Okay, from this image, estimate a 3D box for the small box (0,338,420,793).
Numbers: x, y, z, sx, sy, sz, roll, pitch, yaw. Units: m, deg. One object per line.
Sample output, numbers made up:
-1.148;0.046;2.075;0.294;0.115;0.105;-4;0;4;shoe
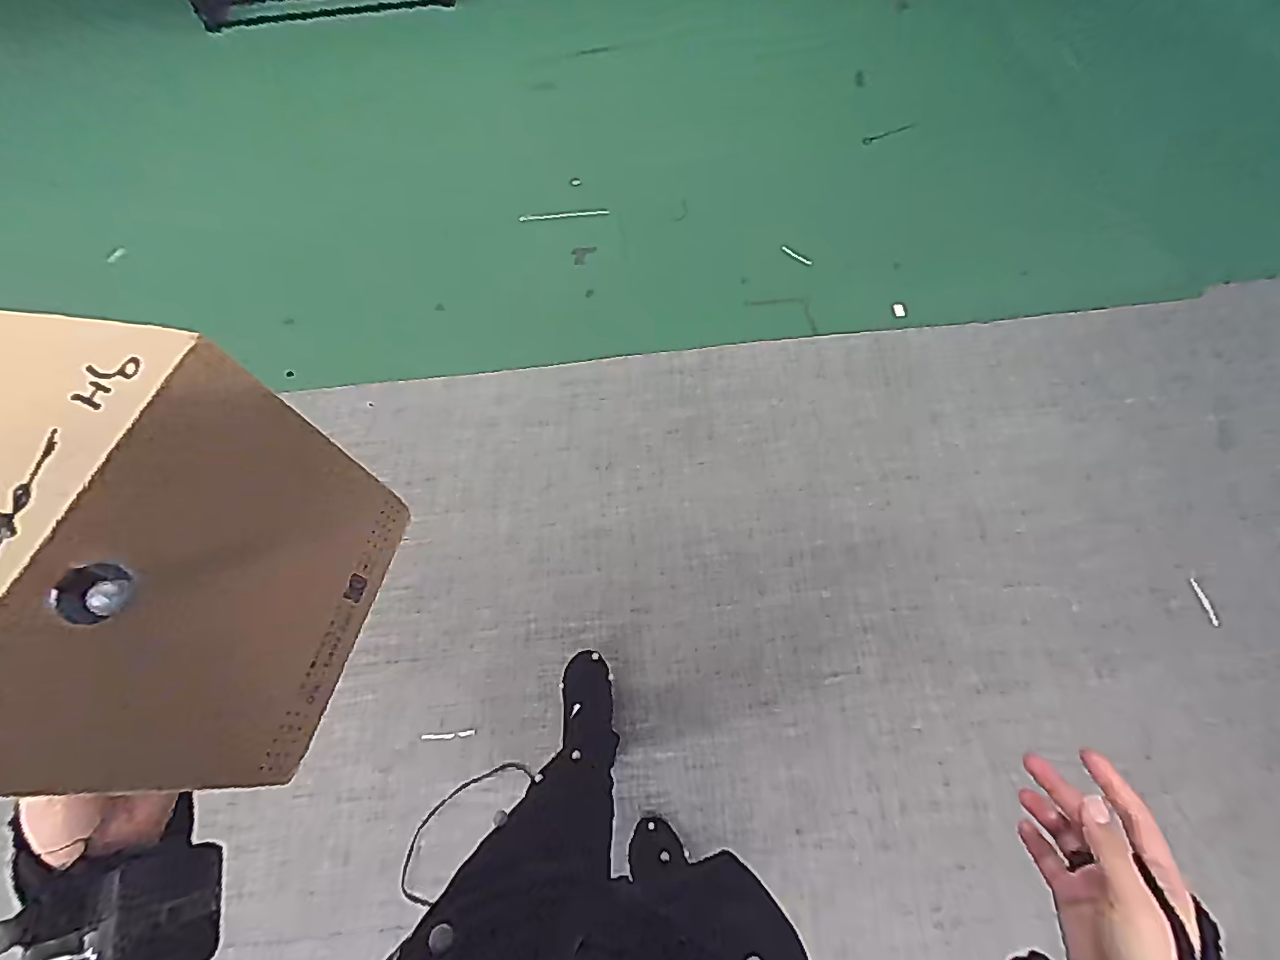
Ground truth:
-0.253;0.050;0.275;0.179;0.176;0.168;7;64;13;small box
